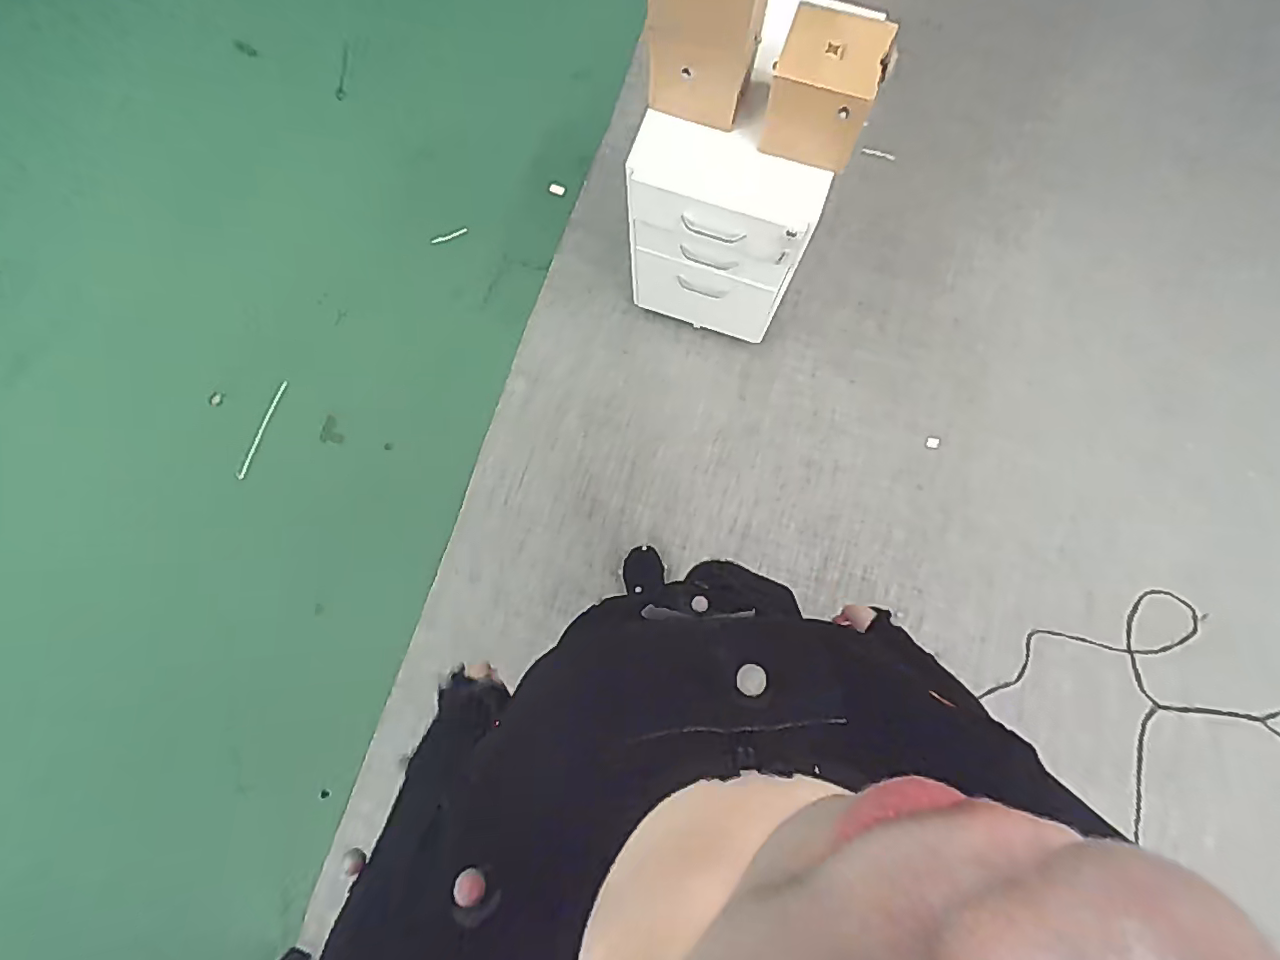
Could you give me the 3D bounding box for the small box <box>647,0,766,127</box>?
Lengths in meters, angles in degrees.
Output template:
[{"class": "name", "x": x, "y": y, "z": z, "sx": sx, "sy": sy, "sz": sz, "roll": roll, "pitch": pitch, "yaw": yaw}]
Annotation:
[{"class": "small box", "x": 0.119, "y": -0.808, "z": 1.013, "sx": 0.179, "sy": 0.176, "sz": 0.168, "roll": 18, "pitch": 81, "yaw": 4}]
